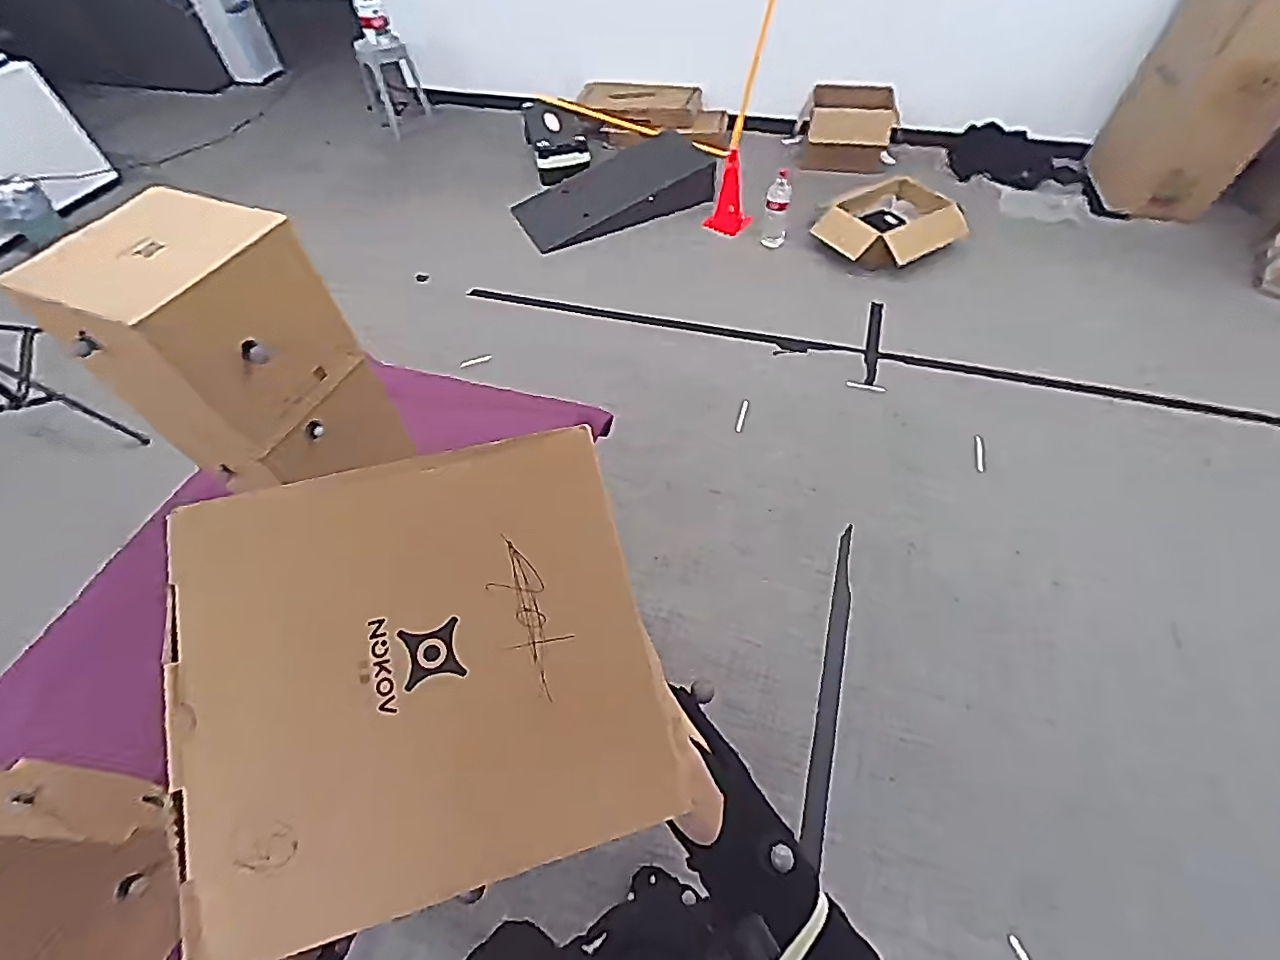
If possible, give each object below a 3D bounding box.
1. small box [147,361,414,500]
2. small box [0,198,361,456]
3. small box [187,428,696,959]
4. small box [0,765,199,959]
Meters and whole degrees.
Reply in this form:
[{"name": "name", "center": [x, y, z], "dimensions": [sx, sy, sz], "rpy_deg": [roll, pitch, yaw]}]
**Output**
[{"name": "small box", "center": [-0.423, -0.050, 0.670], "dimensions": [0.179, 0.176, 0.168], "rpy_deg": [16, 57, 16]}, {"name": "small box", "center": [-0.424, -0.145, 0.537], "dimensions": [0.179, 0.176, 0.168], "rpy_deg": [16, 57, 15]}, {"name": "small box", "center": [-0.089, 0.094, 0.288], "dimensions": [0.179, 0.176, 0.168], "rpy_deg": [-13, 74, -11]}, {"name": "small box", "center": [-0.560, 0.417, 0.537], "dimensions": [0.168, 0.176, 0.179], "rpy_deg": [15, 56, 15]}]
